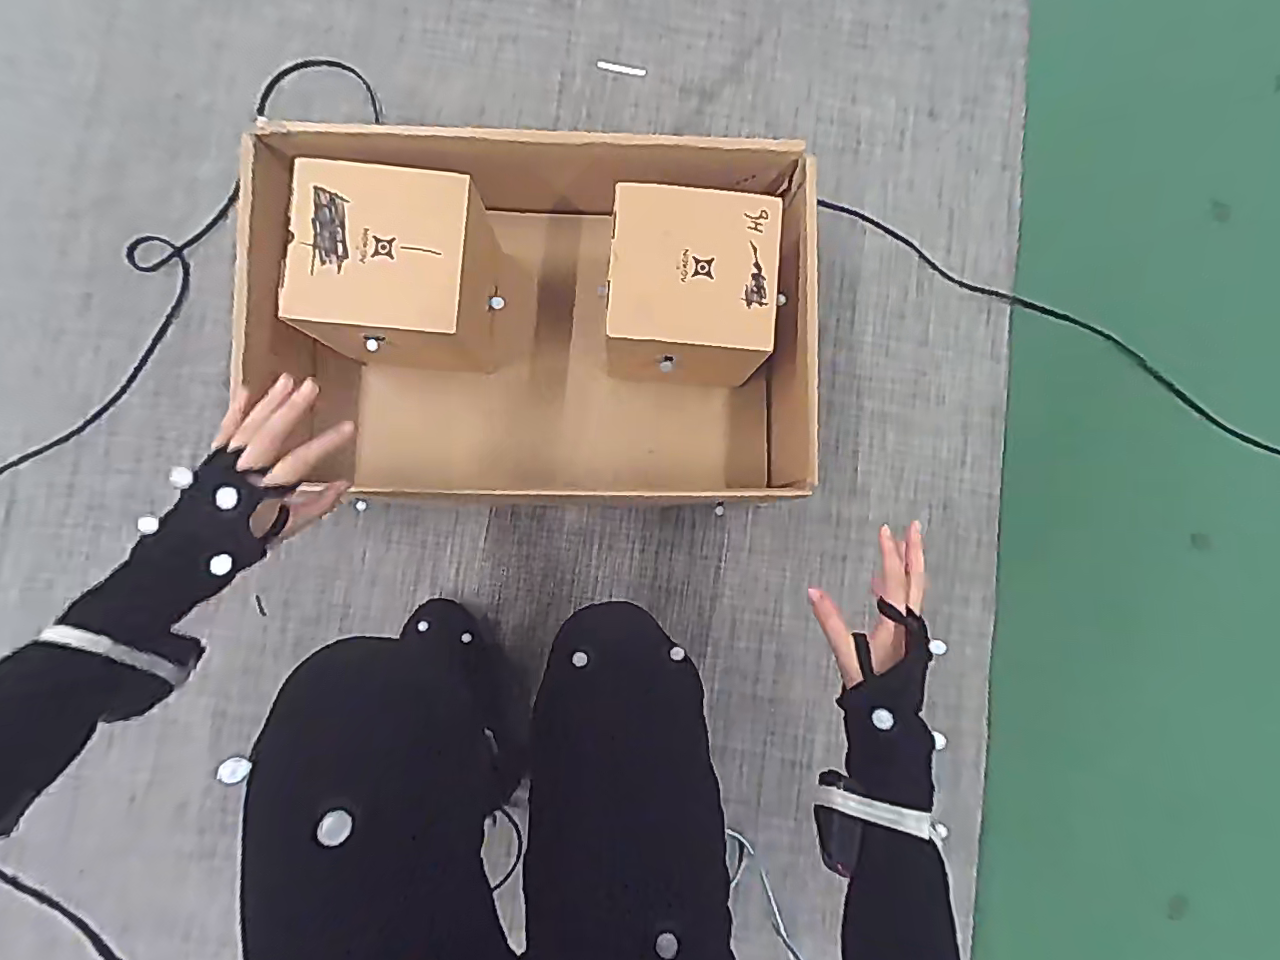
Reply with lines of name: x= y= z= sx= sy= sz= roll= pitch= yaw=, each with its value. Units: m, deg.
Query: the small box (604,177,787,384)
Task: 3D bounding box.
small box: x=0.056 y=-0.217 z=0.630 sx=0.179 sy=0.176 sz=0.168 roll=6 pitch=86 yaw=-2
